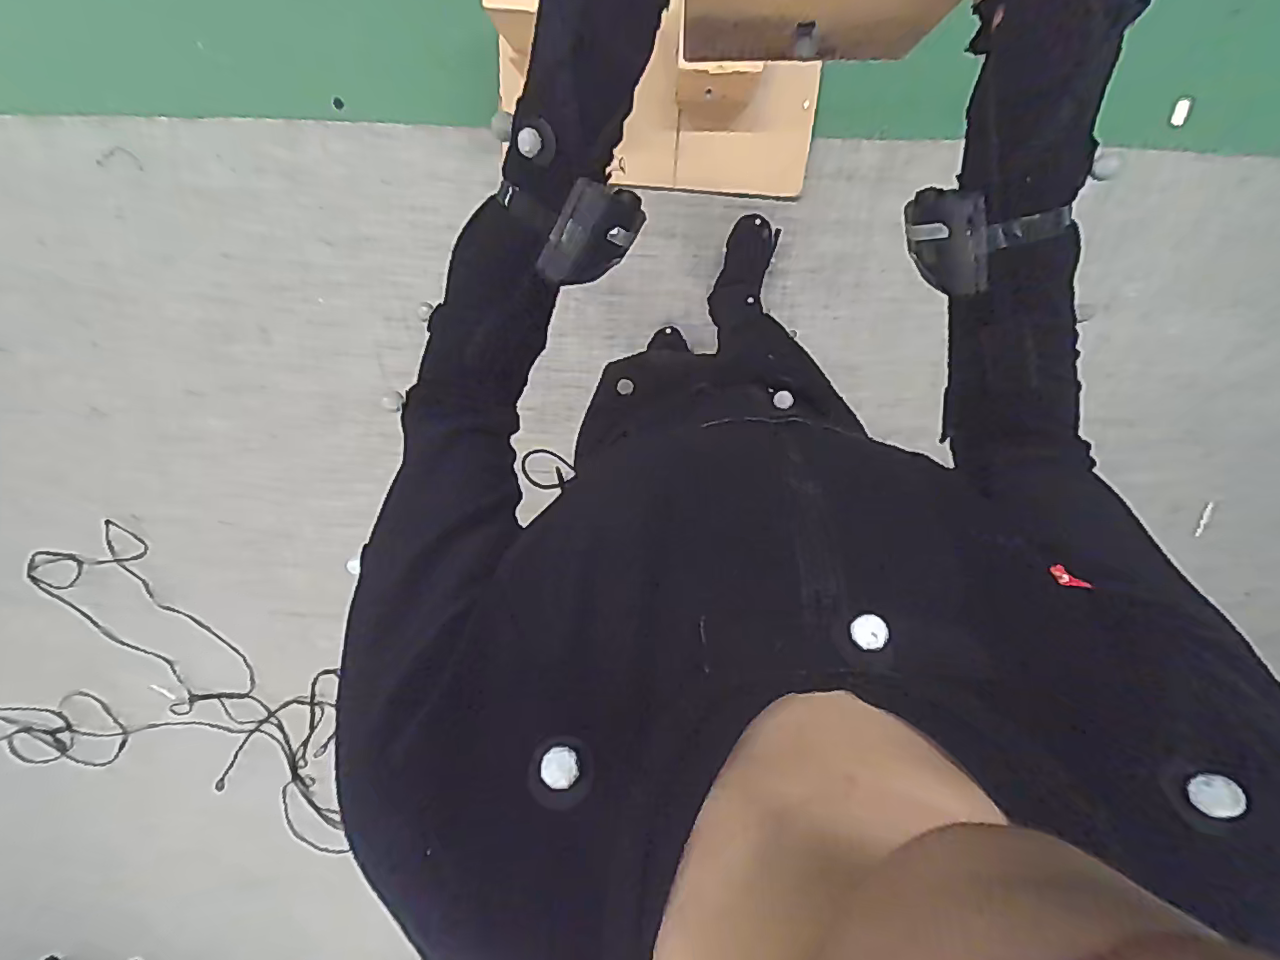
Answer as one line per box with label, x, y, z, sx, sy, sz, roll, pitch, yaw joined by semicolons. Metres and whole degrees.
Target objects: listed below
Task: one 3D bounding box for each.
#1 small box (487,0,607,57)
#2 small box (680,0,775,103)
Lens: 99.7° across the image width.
small box;-0.149;-0.858;0.925;0.179;0.176;0.168;8;110;2
small box;0.168;-0.886;1.080;0.168;0.176;0.179;3;110;1
